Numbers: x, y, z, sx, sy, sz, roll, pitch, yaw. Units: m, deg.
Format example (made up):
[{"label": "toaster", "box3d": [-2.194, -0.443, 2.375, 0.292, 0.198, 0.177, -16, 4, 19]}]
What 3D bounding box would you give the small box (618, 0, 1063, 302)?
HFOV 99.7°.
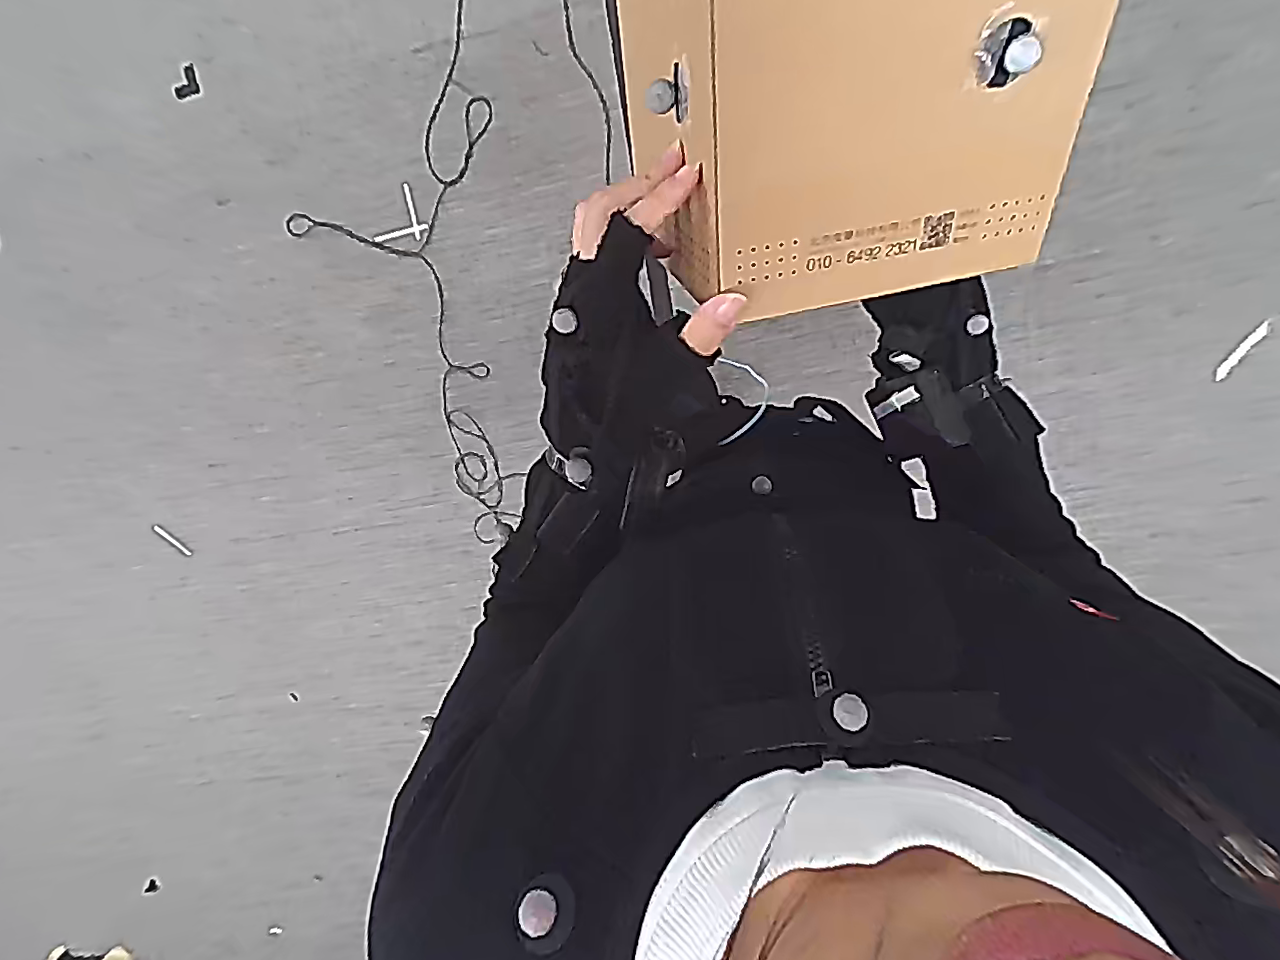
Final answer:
[{"label": "small box", "box3d": [0.090, -0.208, 0.295, 0.168, 0.179, 0.176, -12, 127, -6]}]
